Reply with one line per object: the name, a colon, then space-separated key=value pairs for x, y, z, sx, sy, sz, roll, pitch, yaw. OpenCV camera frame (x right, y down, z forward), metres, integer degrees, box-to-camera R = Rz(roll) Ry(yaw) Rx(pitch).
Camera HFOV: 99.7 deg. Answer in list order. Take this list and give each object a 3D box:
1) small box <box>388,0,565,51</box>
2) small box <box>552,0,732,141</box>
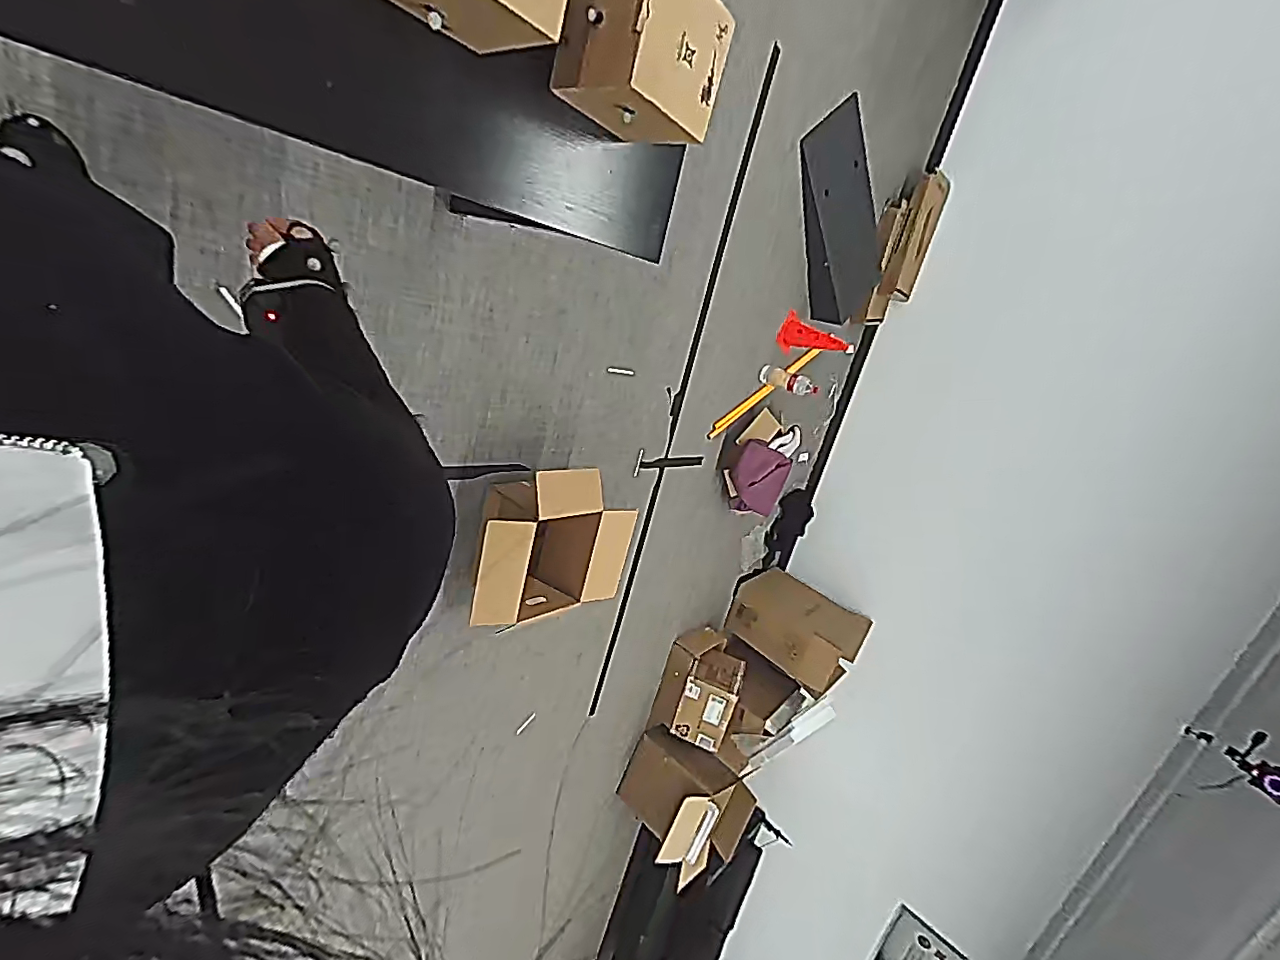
small box: x=-0.184 y=-0.596 z=0.570 sx=0.168 sy=0.176 sz=0.179 roll=-6 pitch=118 yaw=-49
small box: x=-0.002 y=-0.615 z=0.784 sx=0.179 sy=0.176 sz=0.168 roll=-2 pitch=114 yaw=-49
